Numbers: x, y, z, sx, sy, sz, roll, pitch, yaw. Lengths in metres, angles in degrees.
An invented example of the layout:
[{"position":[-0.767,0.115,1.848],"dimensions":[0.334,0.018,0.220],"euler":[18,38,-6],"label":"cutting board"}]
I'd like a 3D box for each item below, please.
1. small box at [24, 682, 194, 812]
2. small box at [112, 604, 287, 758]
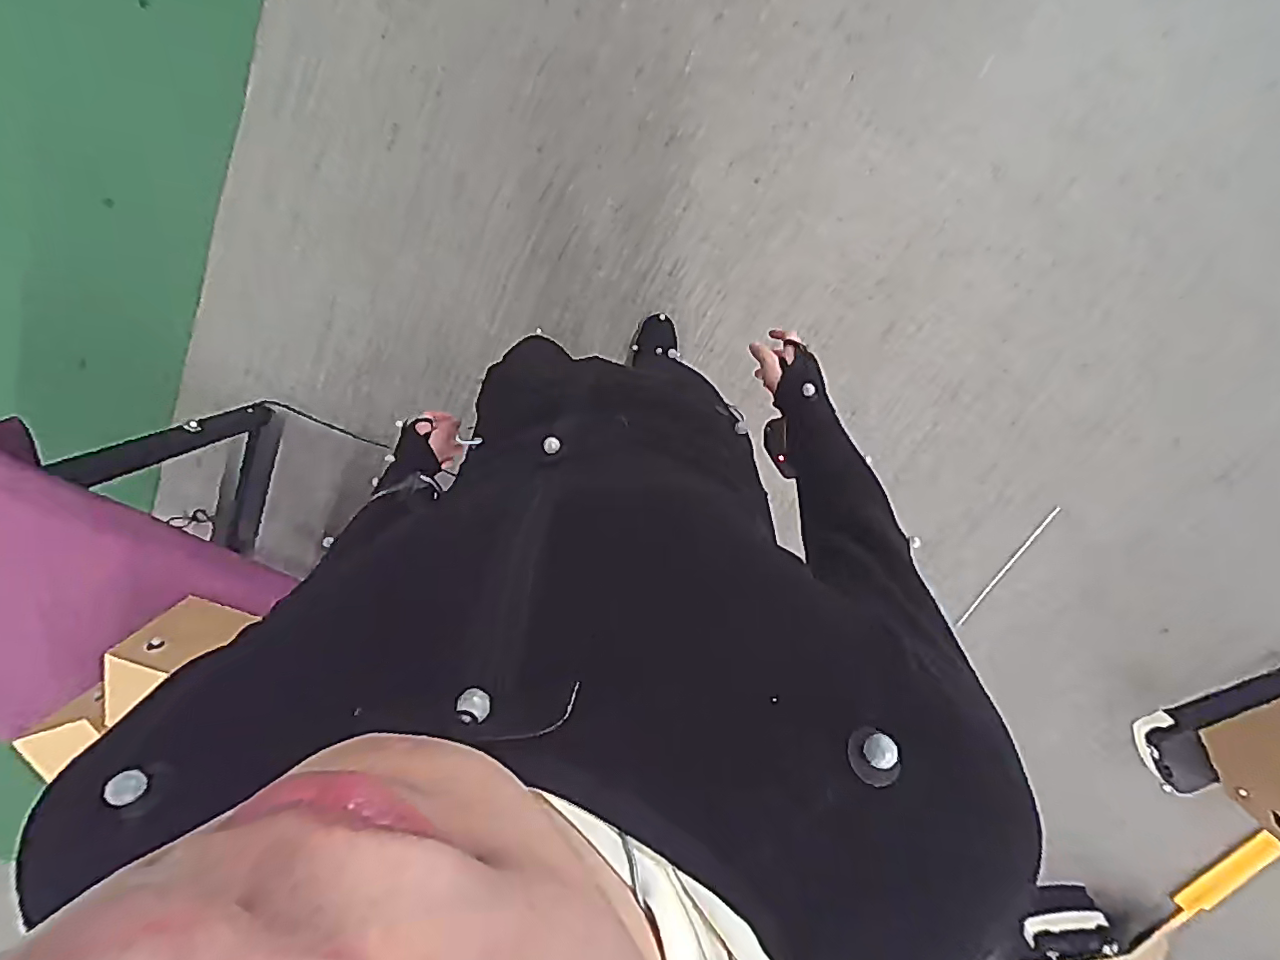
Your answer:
[{"position":[-0.962,0.479,1.027],"dimensions":[0.168,0.176,0.179],"euler":[-19,109,9],"label":"small box"},{"position":[-0.778,0.348,0.965],"dimensions":[0.179,0.176,0.168],"euler":[20,111,-4],"label":"small box"}]
